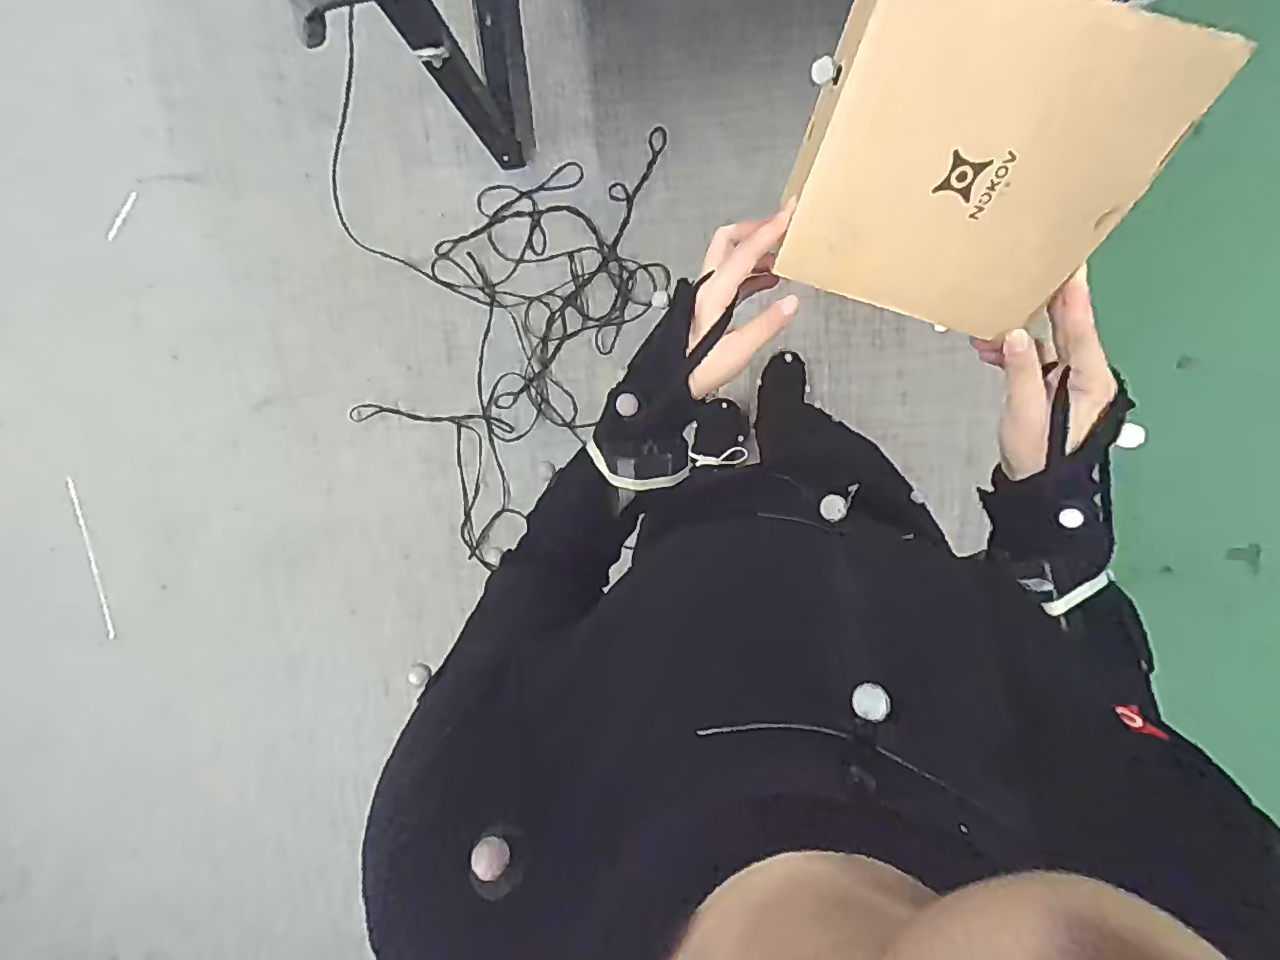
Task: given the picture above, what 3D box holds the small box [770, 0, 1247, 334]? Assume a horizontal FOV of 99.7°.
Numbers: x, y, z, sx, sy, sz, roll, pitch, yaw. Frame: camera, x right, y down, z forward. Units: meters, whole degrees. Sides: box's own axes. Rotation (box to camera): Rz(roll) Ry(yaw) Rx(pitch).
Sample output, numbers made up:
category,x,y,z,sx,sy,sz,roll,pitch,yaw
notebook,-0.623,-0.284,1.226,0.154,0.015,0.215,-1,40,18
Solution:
category,x,y,z,sx,sy,sz,roll,pitch,yaw
small box,0.202,-0.230,0.365,0.179,0.176,0.168,17,133,1
